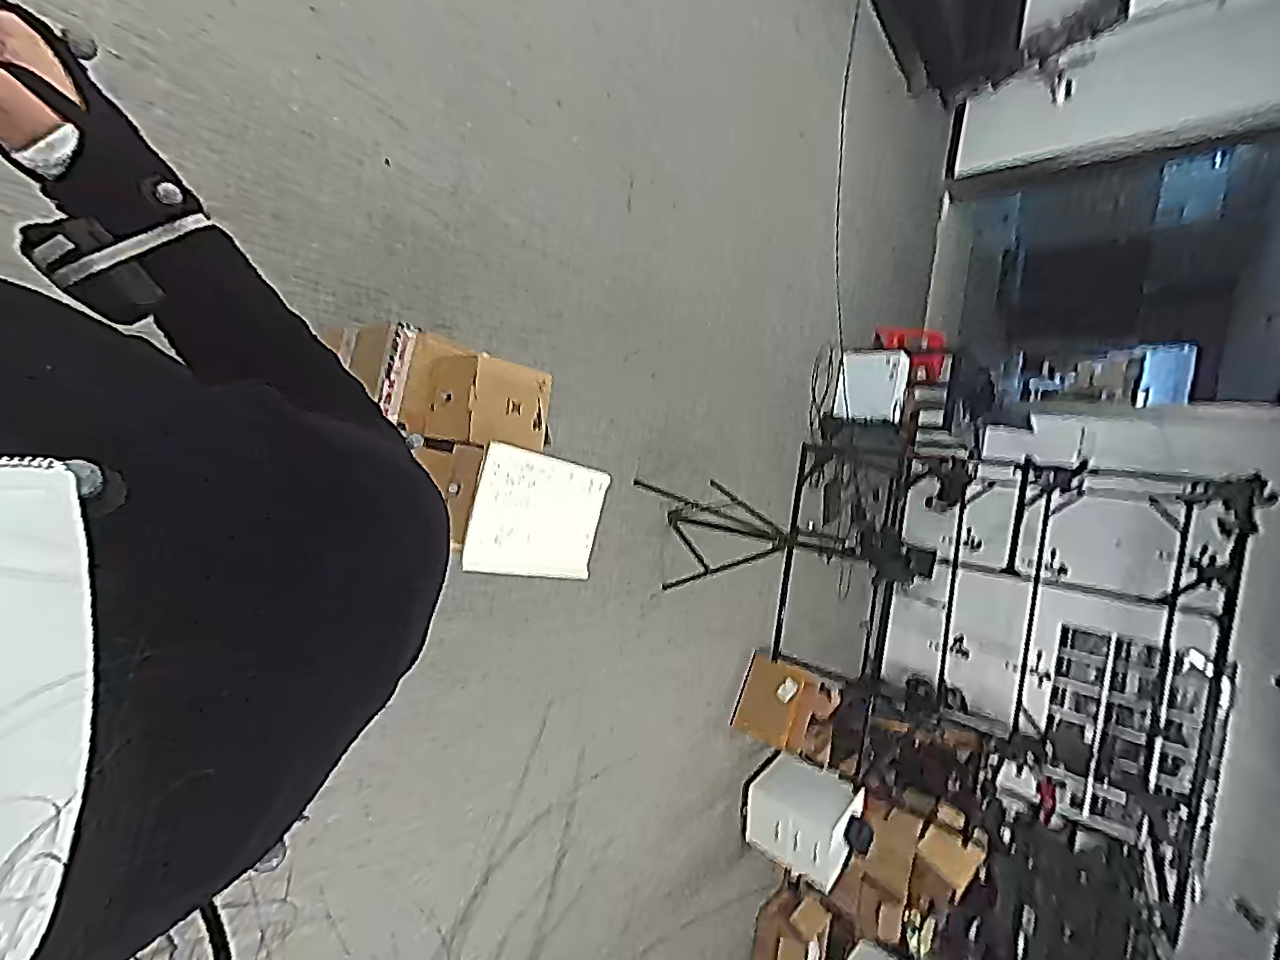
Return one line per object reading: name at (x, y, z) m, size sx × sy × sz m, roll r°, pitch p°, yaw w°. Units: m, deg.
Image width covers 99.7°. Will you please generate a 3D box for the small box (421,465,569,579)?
small box at (-0.264, 0.075, 0.989) m, size 0.179 × 0.176 × 0.168 m, roll 17°, pitch 86°, yaw -49°
